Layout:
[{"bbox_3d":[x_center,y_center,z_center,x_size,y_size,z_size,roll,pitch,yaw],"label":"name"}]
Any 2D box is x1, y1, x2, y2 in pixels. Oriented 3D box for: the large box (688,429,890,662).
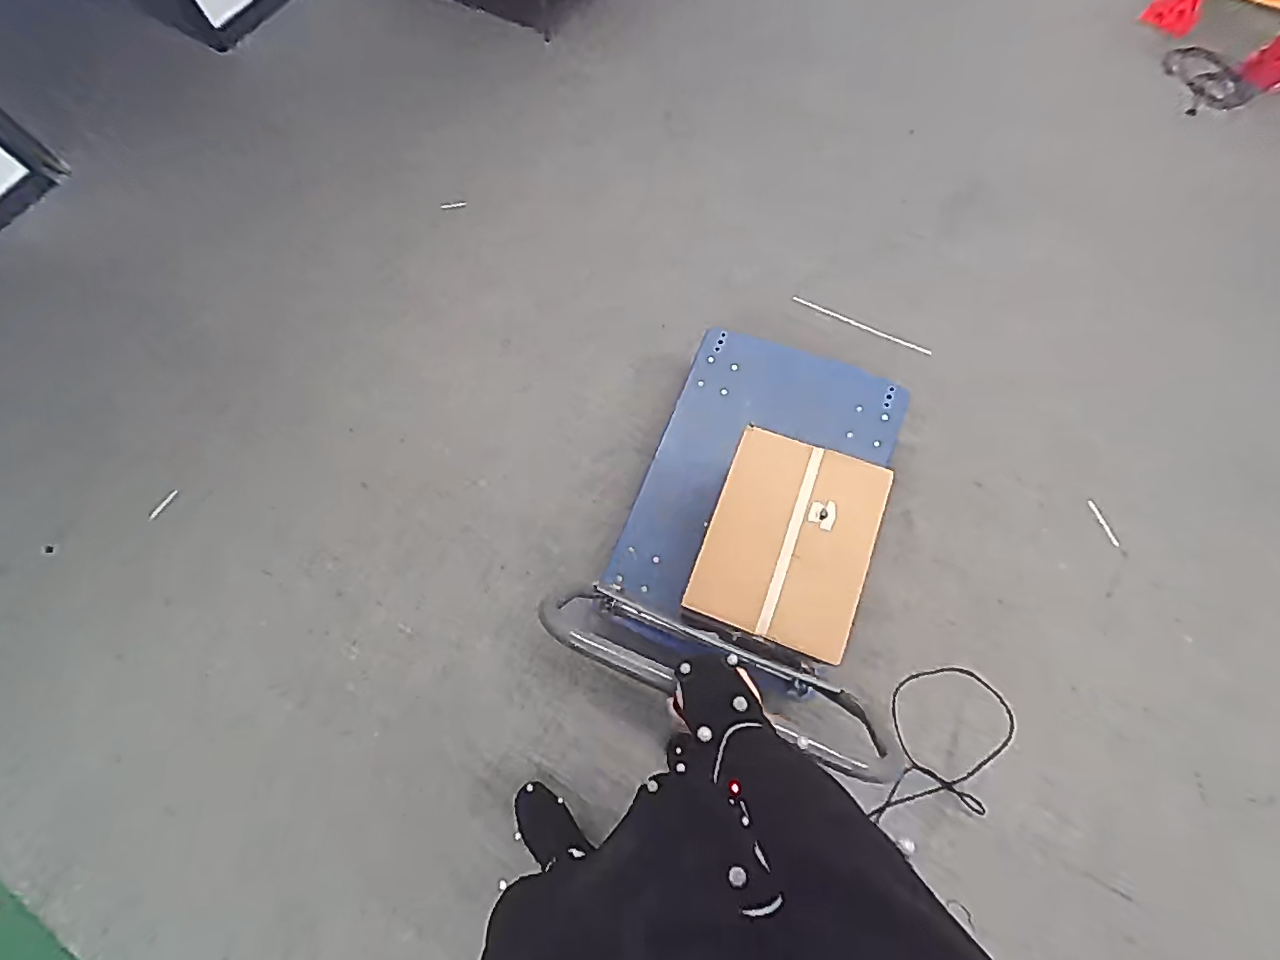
[{"bbox_3d":[0.313,0.160,1.221,0.320,0.320,0.408,20,75,9],"label":"large box"}]
